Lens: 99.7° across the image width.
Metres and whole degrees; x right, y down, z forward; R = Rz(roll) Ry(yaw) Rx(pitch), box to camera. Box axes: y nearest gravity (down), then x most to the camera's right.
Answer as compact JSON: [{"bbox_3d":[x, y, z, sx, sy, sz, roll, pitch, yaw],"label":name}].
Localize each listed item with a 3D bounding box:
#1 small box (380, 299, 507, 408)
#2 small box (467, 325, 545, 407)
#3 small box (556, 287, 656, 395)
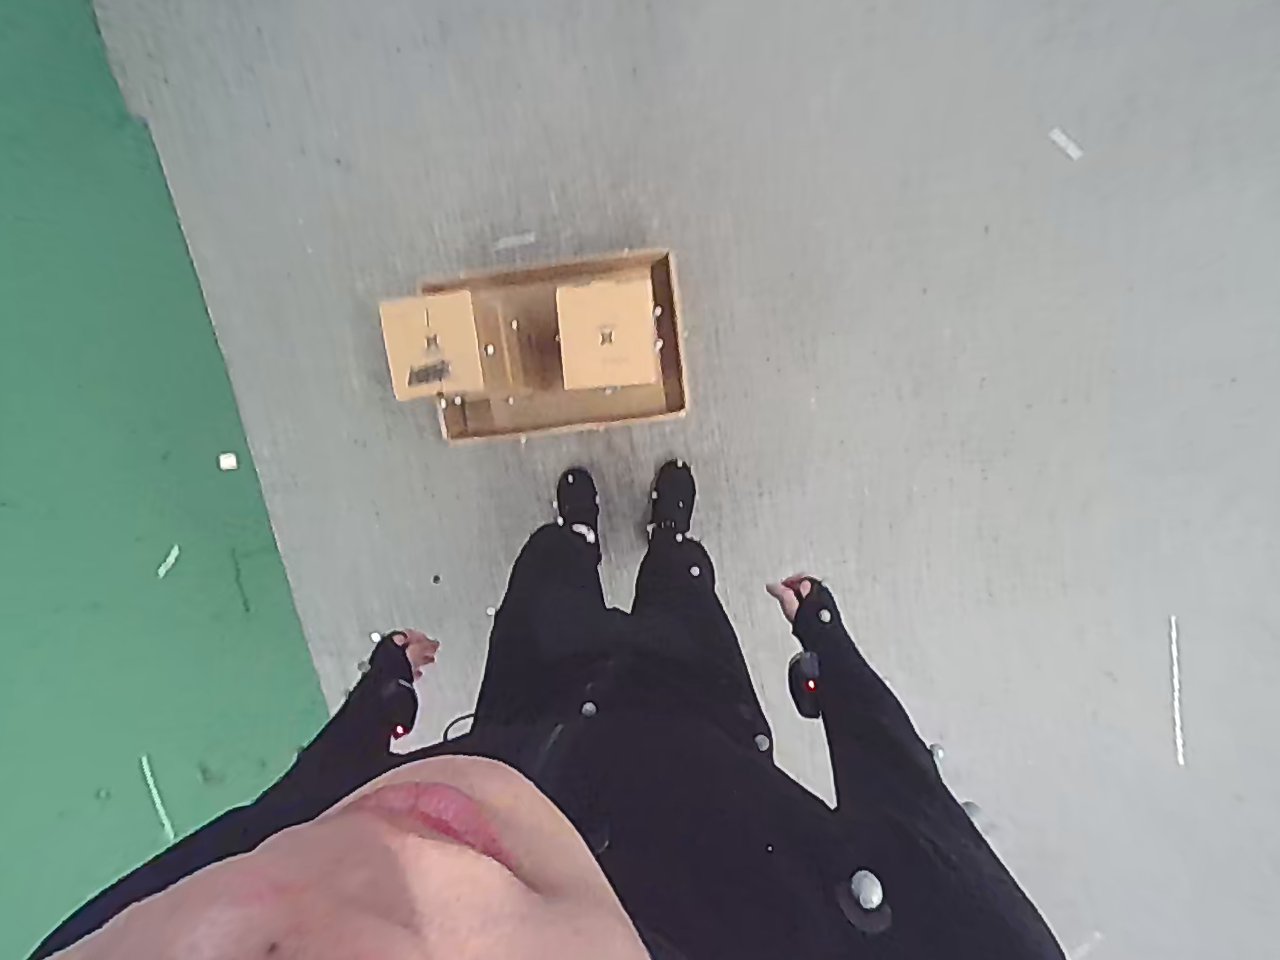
[{"bbox_3d":[-0.362,-0.232,1.031,0.168,0.176,0.179,-7,96,2],"label":"small box"},{"bbox_3d":[-0.342,-0.280,1.355,0.168,0.176,0.179,-6,97,3],"label":"small box"},{"bbox_3d":[-0.057,-0.253,1.019,0.168,0.176,0.179,-4,99,3],"label":"small box"}]
